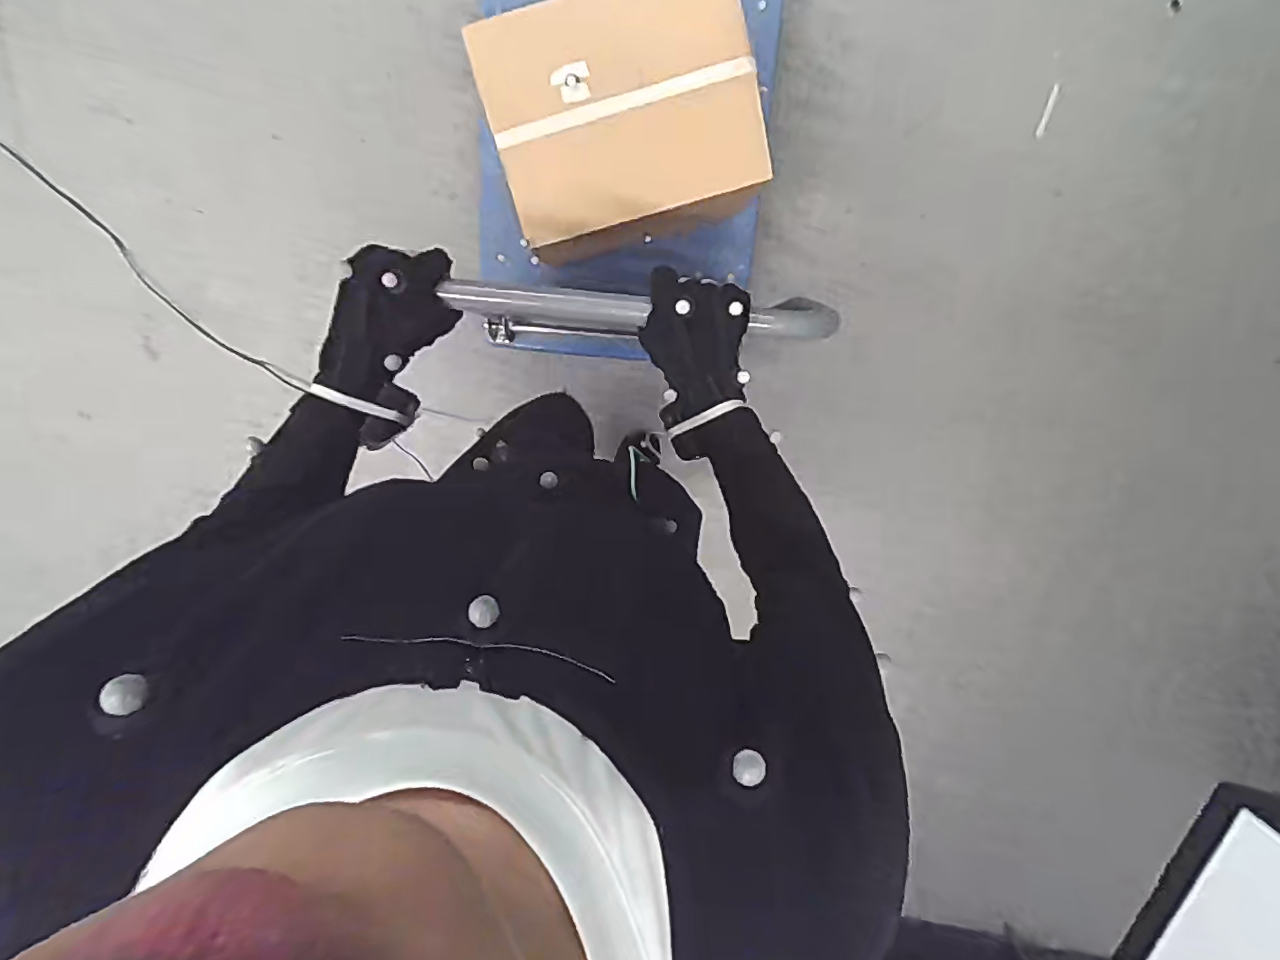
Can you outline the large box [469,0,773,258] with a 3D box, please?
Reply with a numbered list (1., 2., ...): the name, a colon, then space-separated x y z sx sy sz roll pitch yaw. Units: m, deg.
1. large box: -0.022 -0.618 0.958 0.408 0.320 0.320 -15 105 3
